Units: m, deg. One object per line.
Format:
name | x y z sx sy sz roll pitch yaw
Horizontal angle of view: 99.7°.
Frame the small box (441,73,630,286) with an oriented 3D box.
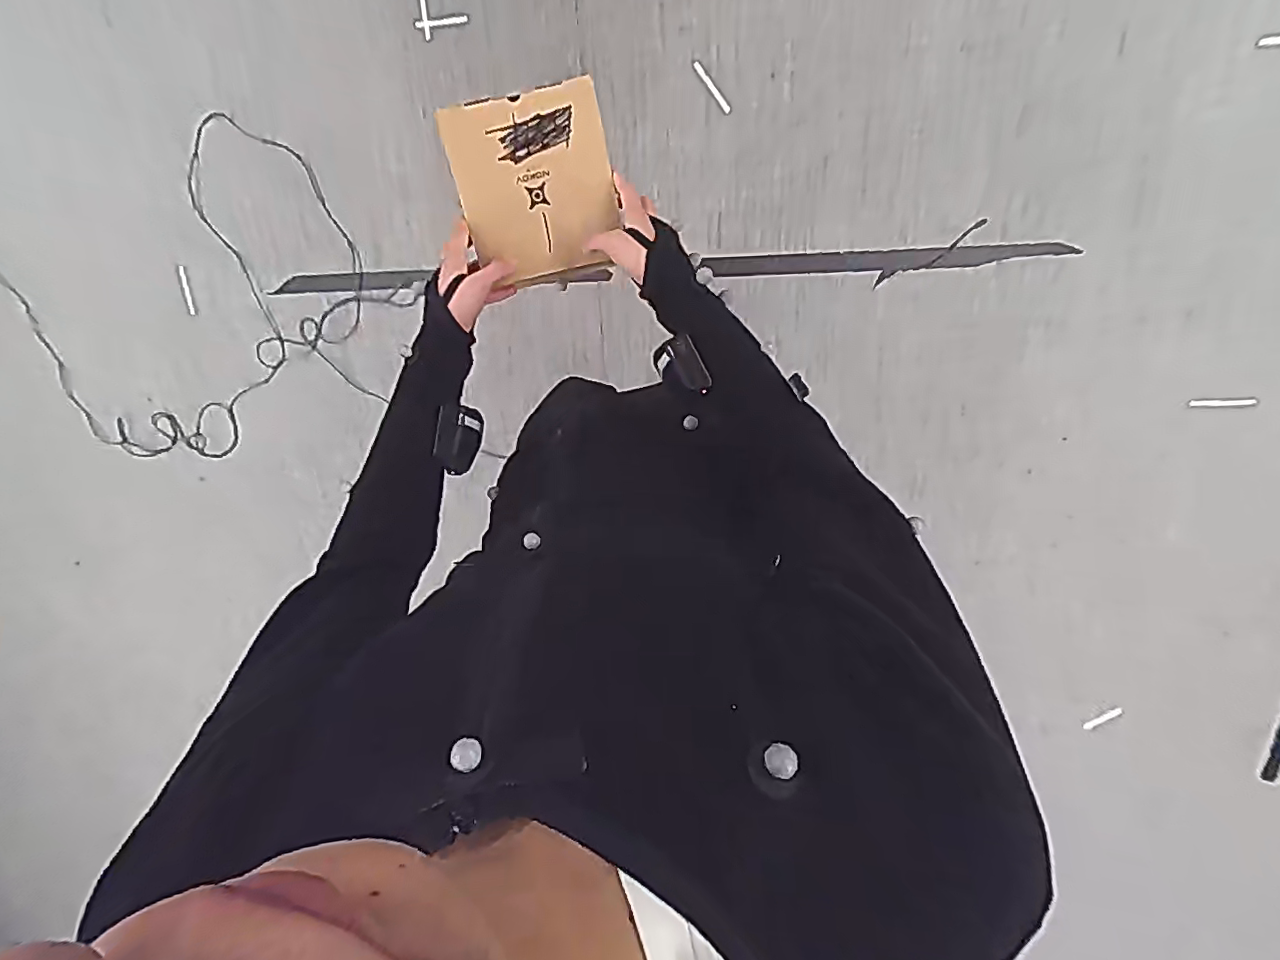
small box | -0.113 -0.341 0.649 0.168 0.176 0.179 -13 110 0
